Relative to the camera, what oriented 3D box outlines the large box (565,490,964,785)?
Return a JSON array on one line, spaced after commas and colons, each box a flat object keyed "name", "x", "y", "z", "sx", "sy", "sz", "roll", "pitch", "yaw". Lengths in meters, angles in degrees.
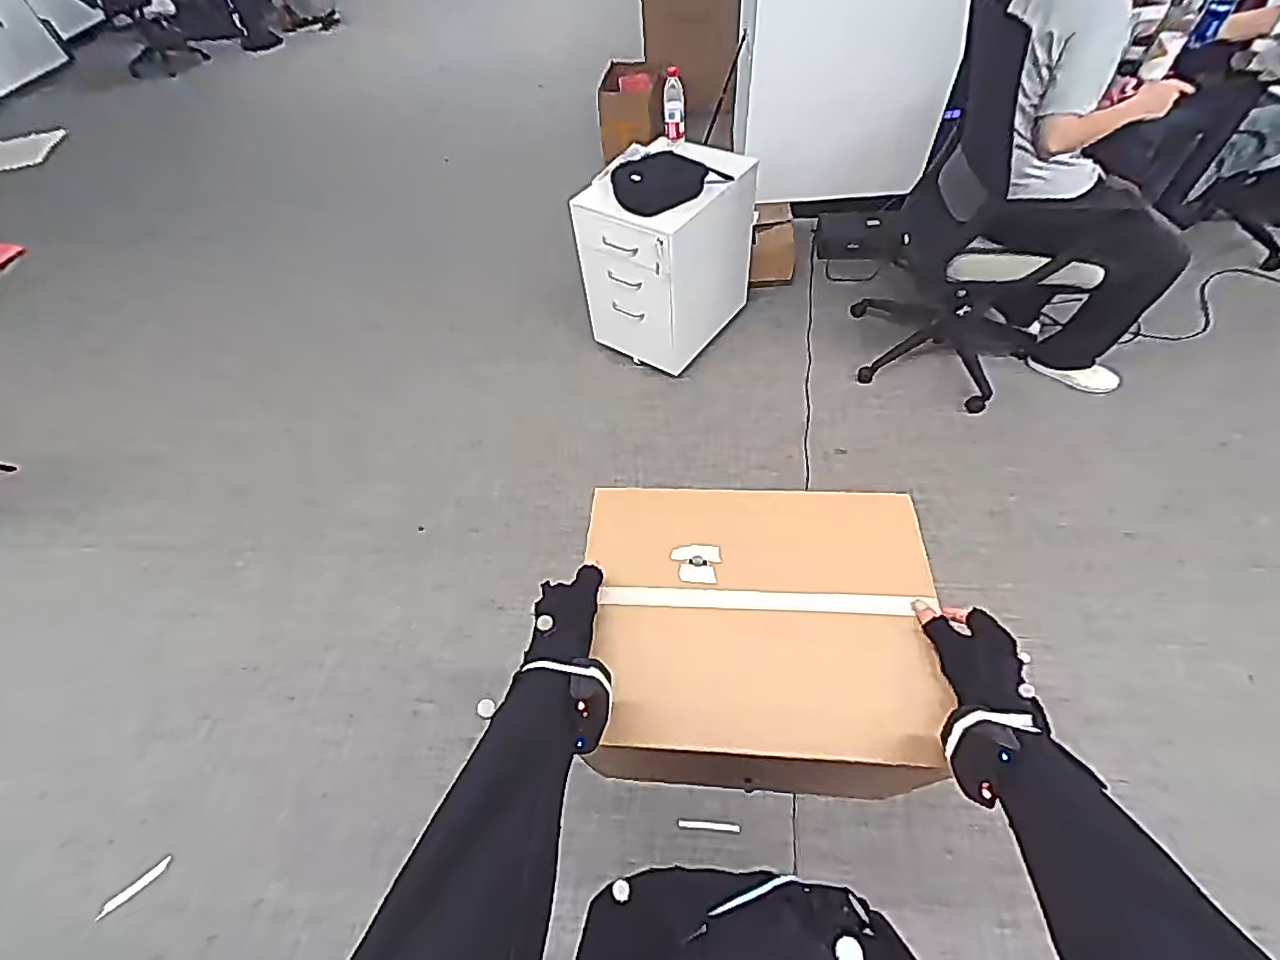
[{"name": "large box", "x": 0.144, "y": 0.224, "z": 0.748, "sx": 0.408, "sy": 0.320, "sz": 0.320, "roll": 1, "pitch": 54, "yaw": 7}]
